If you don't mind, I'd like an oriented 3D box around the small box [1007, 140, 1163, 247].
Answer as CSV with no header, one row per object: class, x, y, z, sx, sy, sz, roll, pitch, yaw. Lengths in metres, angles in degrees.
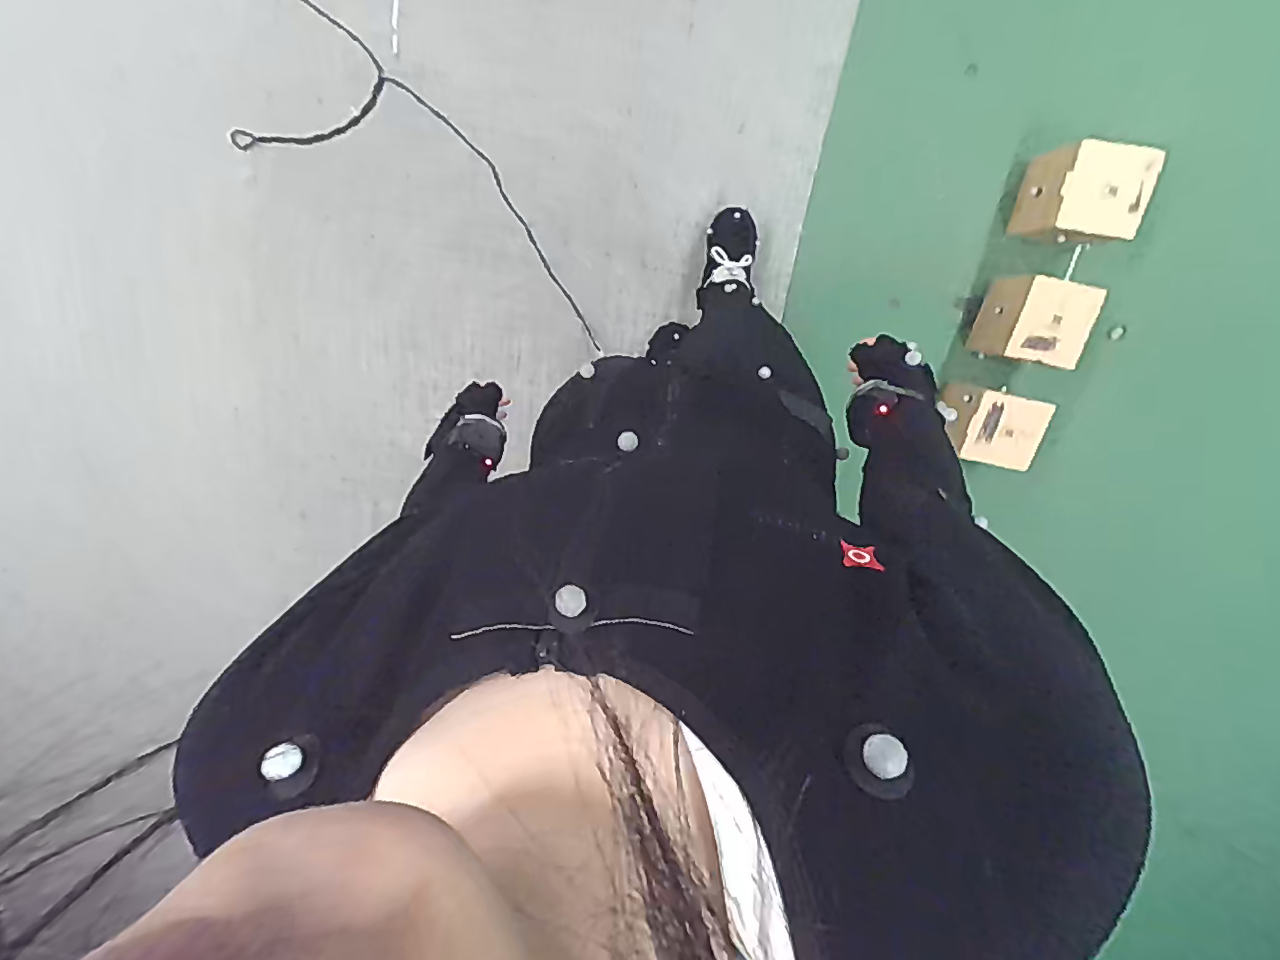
small box,0.957,-0.616,1.184,0.179,0.176,0.168,9,109,0
